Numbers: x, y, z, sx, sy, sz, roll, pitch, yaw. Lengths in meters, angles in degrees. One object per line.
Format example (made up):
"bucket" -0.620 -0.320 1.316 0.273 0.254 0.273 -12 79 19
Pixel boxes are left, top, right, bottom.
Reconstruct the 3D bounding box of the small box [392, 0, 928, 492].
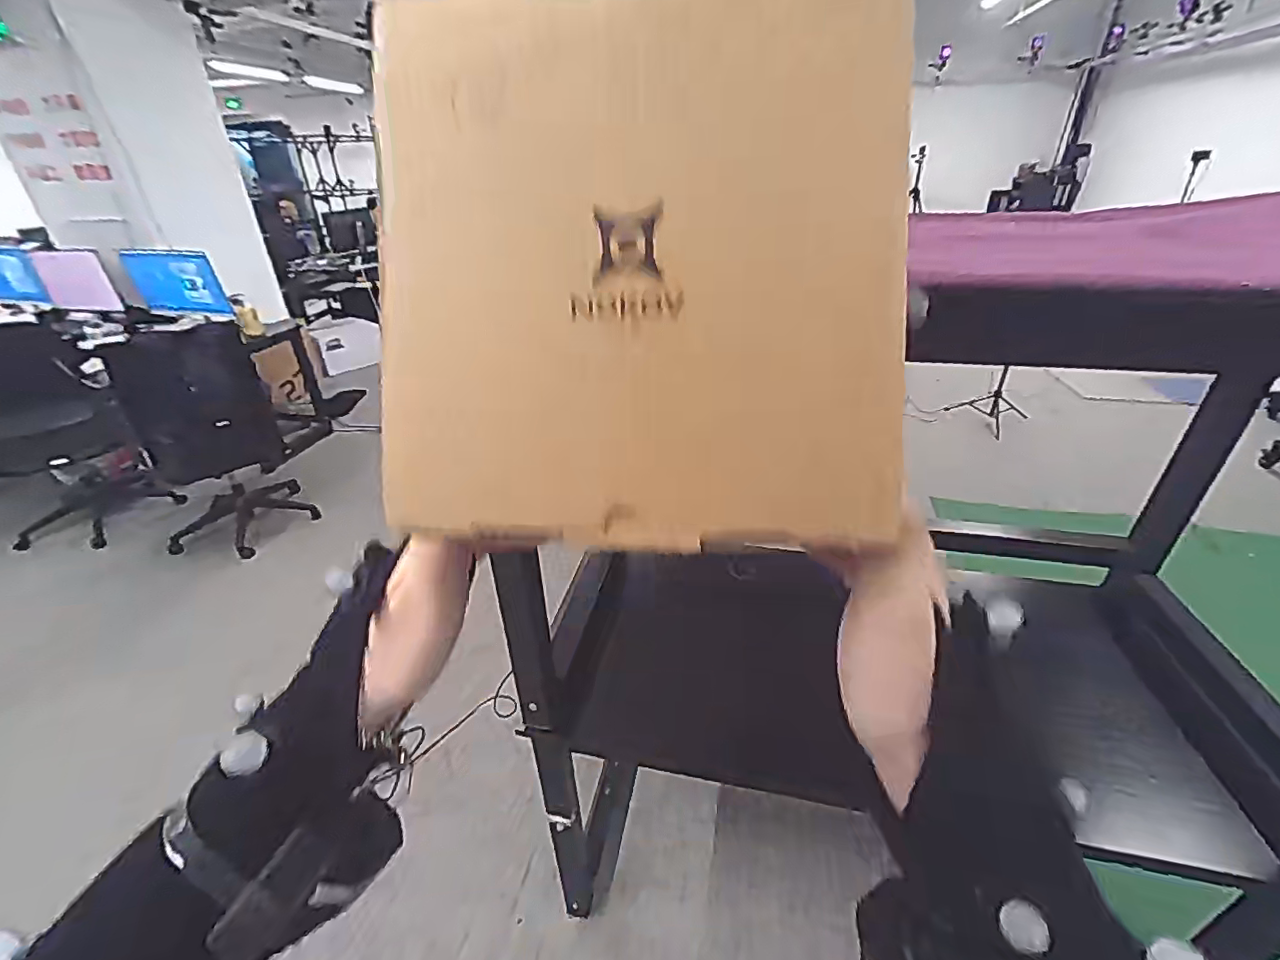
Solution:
"small box" 0.011 -0.088 0.247 0.168 0.179 0.176 0 3 9
